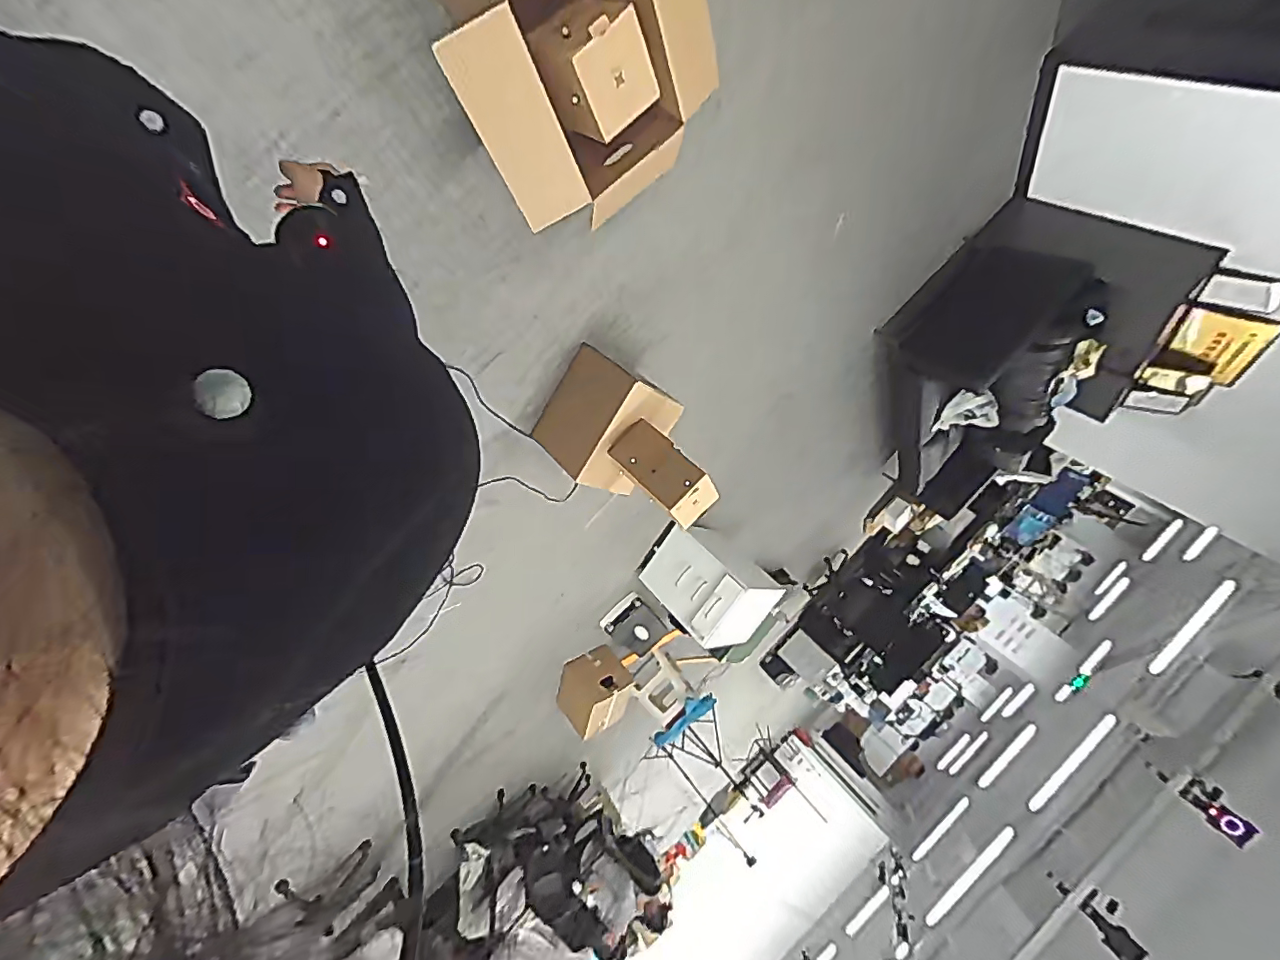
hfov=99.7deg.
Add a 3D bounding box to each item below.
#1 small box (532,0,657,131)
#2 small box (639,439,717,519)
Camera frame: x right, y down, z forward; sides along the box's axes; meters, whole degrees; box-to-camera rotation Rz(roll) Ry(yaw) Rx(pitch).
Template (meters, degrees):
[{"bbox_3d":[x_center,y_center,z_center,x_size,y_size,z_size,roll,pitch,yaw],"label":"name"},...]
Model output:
[{"bbox_3d":[-0.098,-0.890,1.145,0.168,0.176,0.179,-44,147,-3],"label":"small box"},{"bbox_3d":[0.126,-0.006,1.782,0.168,0.176,0.179,-46,148,-4],"label":"small box"}]
